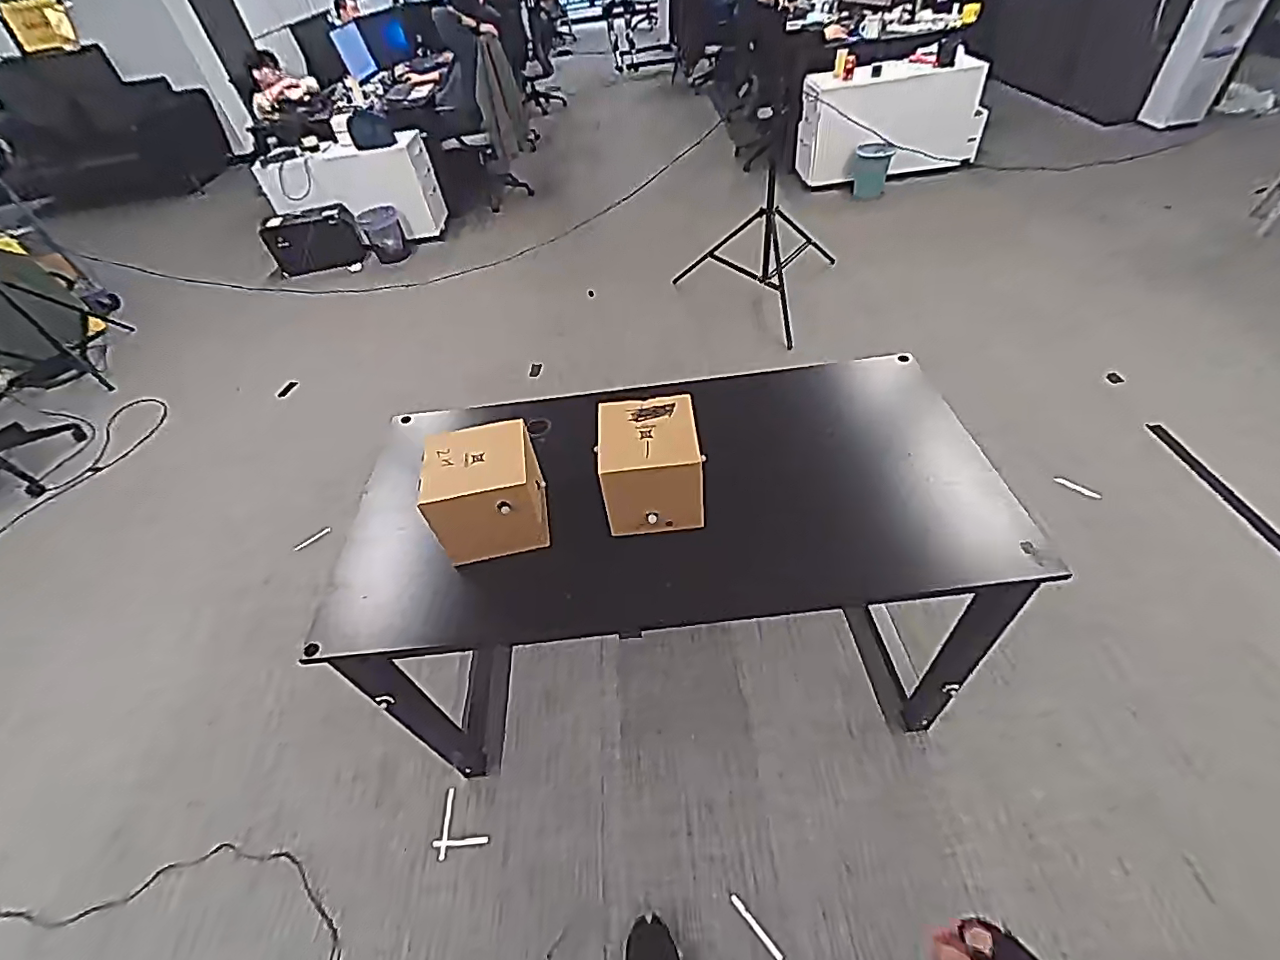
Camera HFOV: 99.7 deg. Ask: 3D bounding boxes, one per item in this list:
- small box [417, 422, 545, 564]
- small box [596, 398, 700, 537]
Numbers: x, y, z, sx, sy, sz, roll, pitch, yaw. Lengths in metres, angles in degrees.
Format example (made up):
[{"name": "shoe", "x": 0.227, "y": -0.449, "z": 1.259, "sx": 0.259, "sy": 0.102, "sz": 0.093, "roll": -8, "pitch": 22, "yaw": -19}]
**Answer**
[{"name": "small box", "x": -0.270, "y": 0.026, "z": 0.959, "sx": 0.179, "sy": 0.176, "sz": 0.168, "roll": -12, "pitch": 46, "yaw": -3}, {"name": "small box", "x": 0.016, "y": -0.021, "z": 0.963, "sx": 0.168, "sy": 0.176, "sz": 0.179, "roll": -6, "pitch": 47, "yaw": 3}]
